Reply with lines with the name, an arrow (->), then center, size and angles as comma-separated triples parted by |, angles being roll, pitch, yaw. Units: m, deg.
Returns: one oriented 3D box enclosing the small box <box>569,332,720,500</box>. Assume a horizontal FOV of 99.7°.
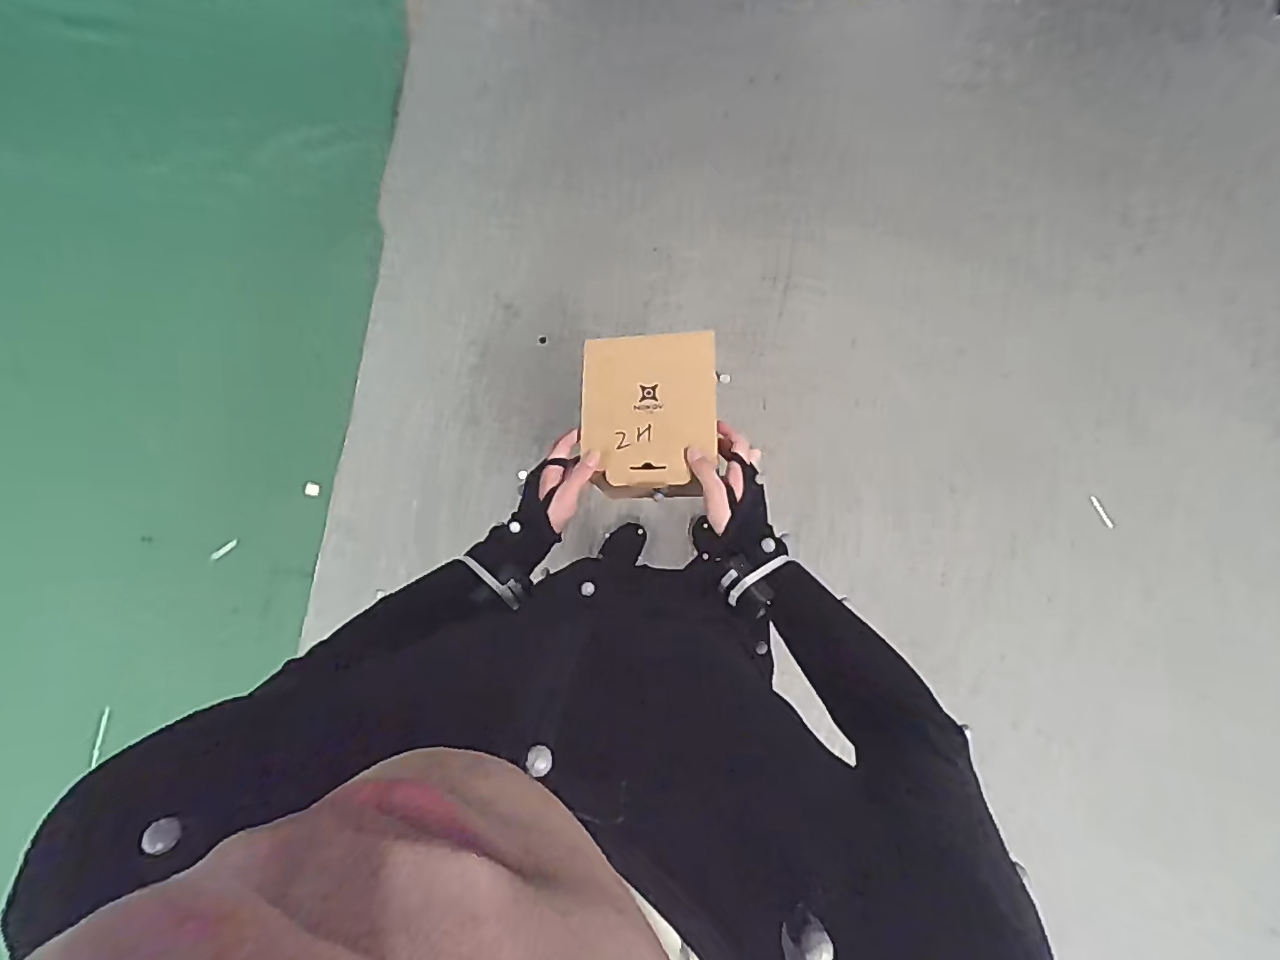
small box -> 0.018, -0.080, 0.727 | 0.168, 0.176, 0.179 | 4, 79, 12
